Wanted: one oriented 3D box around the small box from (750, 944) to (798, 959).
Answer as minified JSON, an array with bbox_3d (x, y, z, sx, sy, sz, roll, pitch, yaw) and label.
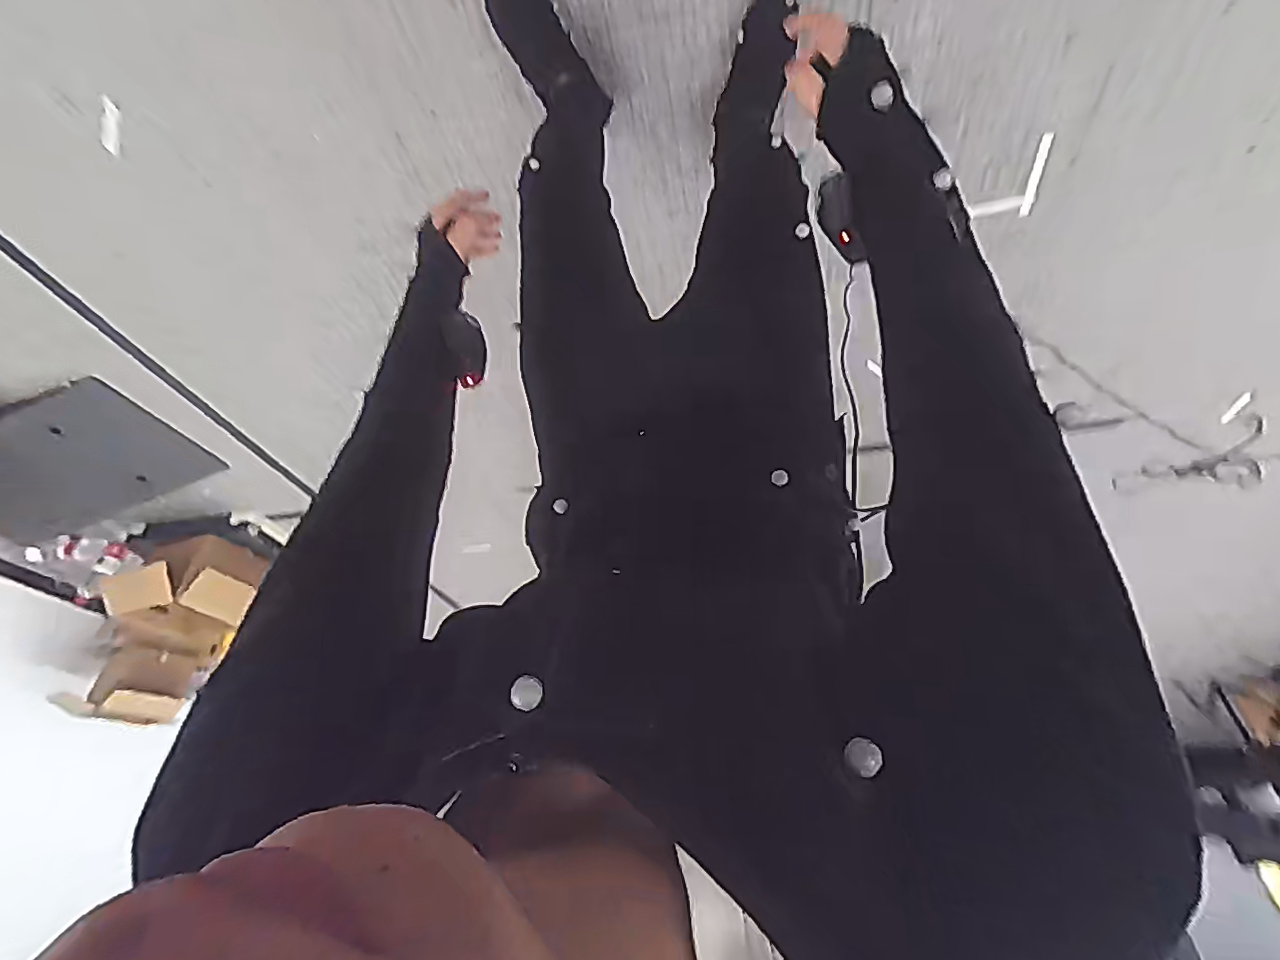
[{"bbox_3d":[0.538,1.941,2.124,0.168,0.176,0.179,-15,139,18],"label":"small box"}]
